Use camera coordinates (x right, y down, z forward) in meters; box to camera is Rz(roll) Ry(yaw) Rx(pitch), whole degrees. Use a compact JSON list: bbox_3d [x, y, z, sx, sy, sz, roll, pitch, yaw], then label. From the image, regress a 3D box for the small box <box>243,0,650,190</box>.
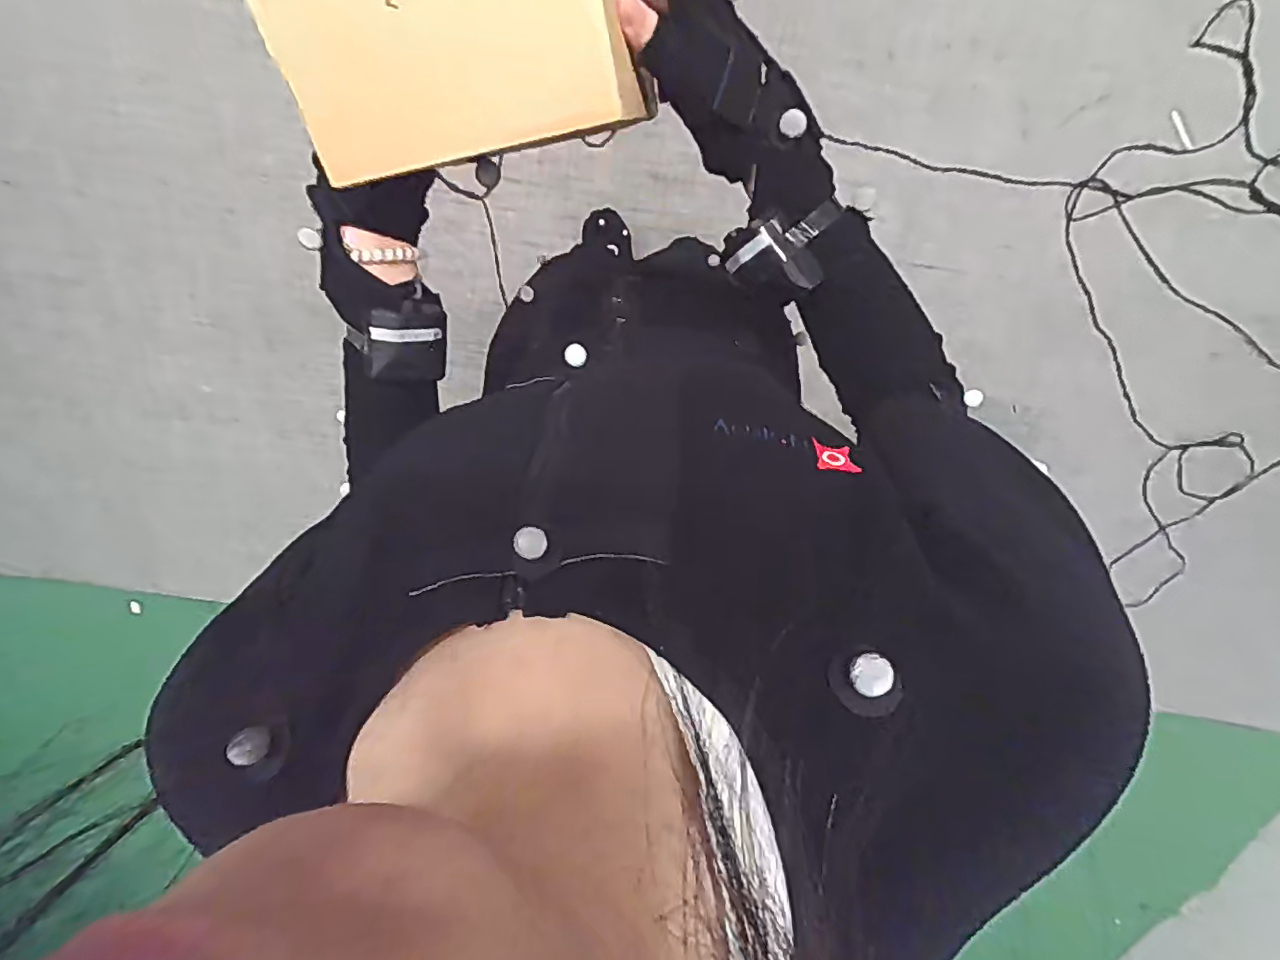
[{"bbox_3d":[-0.095,-0.281,0.305,0.179,0.176,0.168,-4,124,14],"label":"small box"}]
